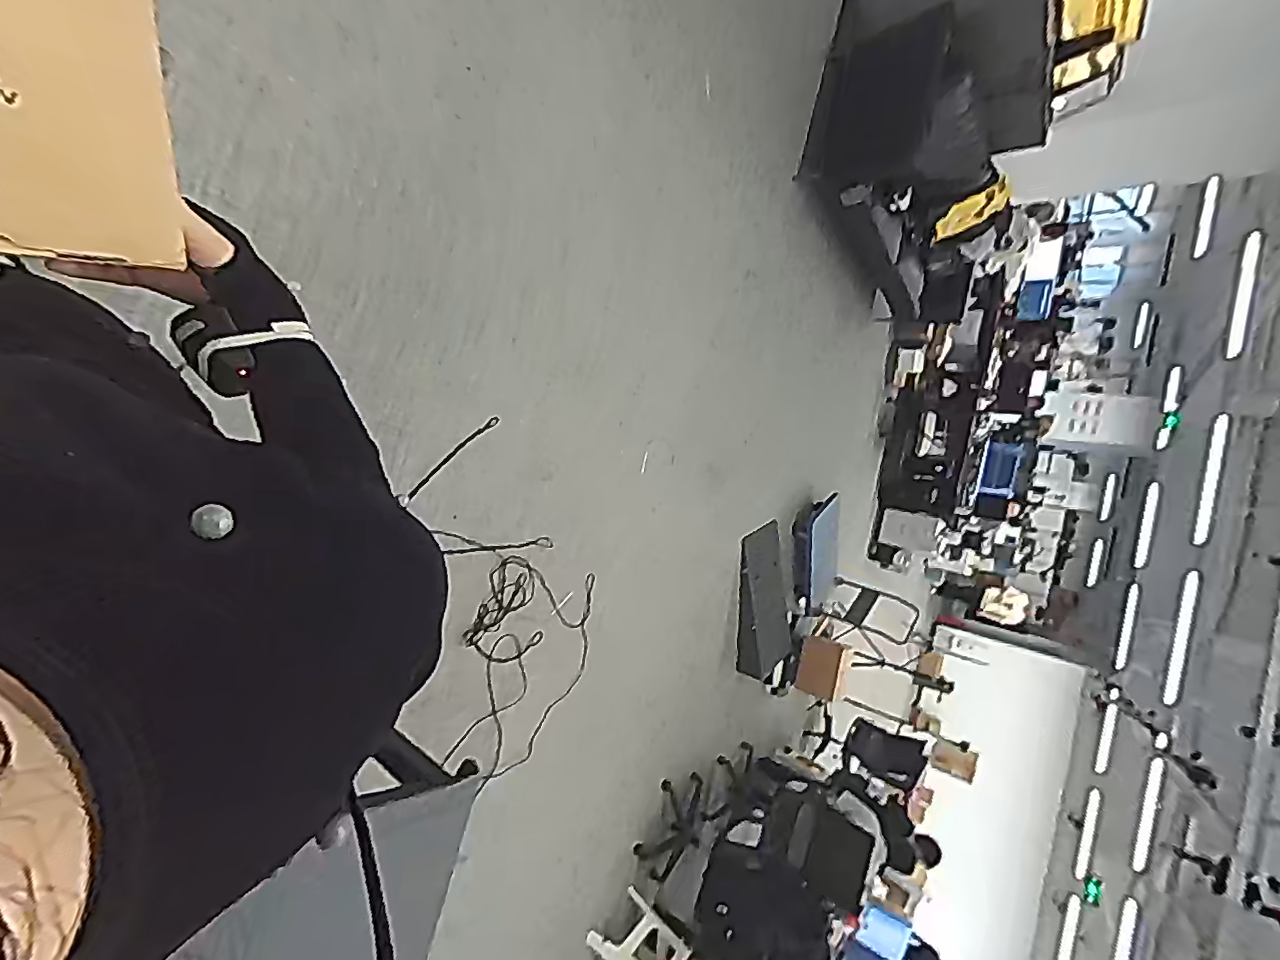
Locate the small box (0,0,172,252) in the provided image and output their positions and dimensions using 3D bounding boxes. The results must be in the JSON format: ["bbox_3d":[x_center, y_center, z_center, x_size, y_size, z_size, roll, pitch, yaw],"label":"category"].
[{"bbox_3d":[-0.399,-0.234,0.300,0.168,0.176,0.179,-15,116,-52],"label":"small box"}]
